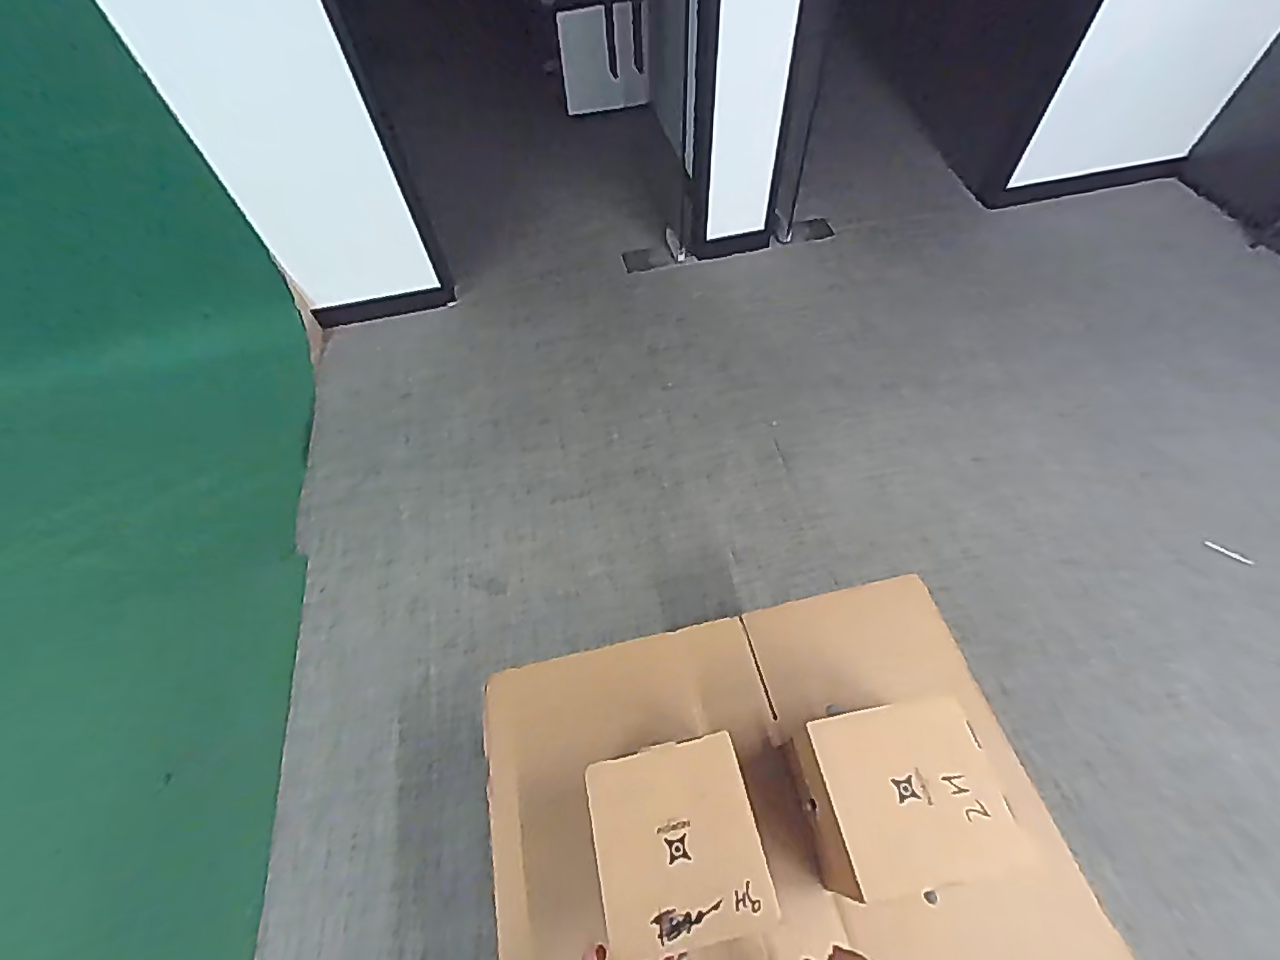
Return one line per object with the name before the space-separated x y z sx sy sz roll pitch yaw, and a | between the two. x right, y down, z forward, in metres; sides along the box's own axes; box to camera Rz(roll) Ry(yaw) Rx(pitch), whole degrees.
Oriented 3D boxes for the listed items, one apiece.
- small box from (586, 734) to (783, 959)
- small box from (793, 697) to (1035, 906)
small box | 0.044 0.411 0.607 0.168 0.176 0.179 -14 55 -2
small box | 0.287 0.368 0.622 0.179 0.176 0.168 -11 56 -2
